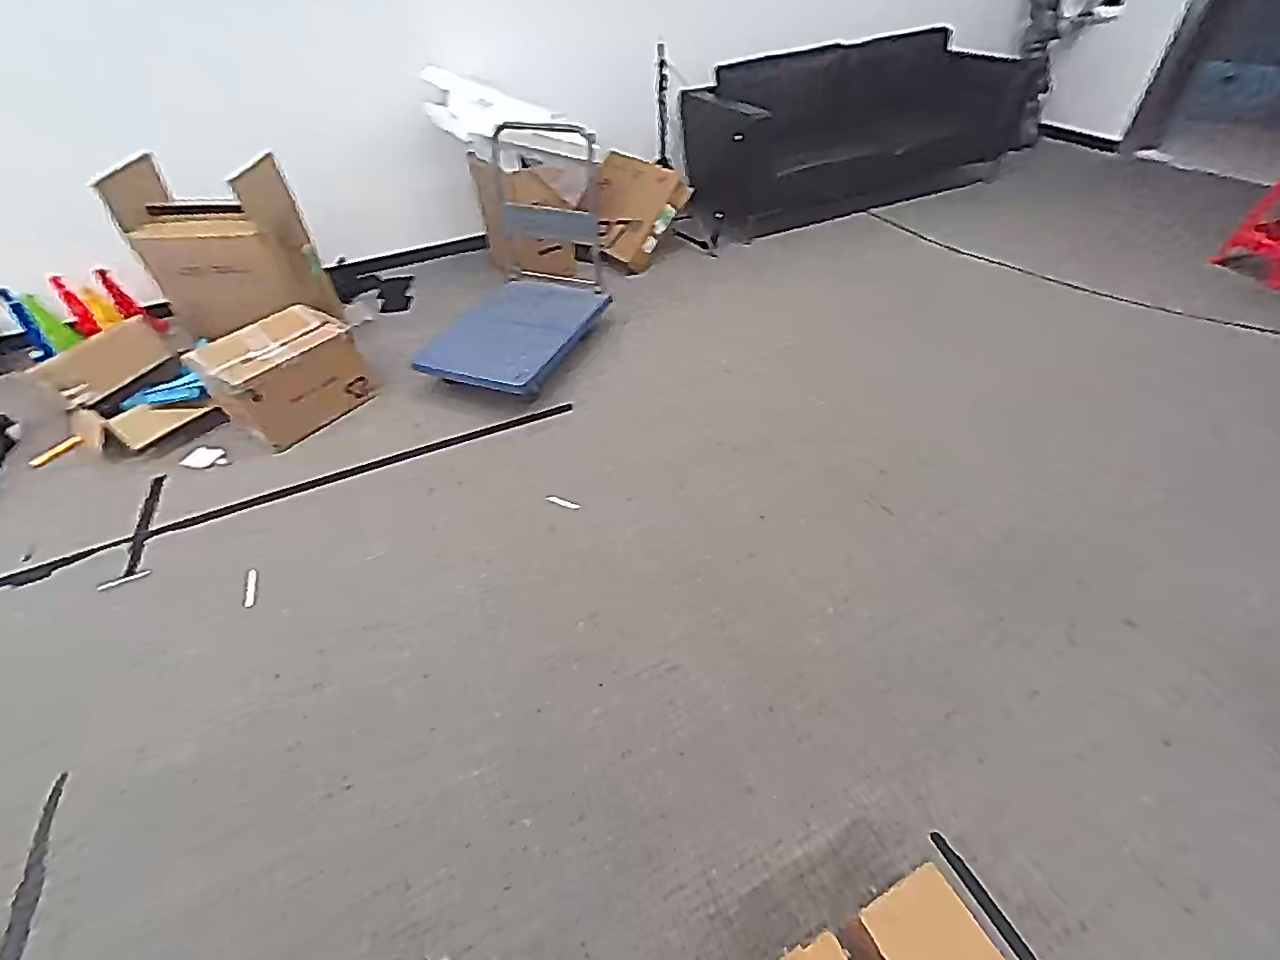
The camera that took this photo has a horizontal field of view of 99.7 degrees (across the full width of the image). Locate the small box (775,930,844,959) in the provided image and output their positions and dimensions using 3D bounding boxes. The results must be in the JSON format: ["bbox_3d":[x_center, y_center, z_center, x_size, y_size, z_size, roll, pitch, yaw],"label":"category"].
[{"bbox_3d":[0.293,0.920,0.923,0.168,0.176,0.179,-20,47,-16],"label":"small box"}]

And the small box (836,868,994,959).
[{"bbox_3d":[0.494,0.841,0.981,0.179,0.176,0.168,-21,47,-17],"label":"small box"}]
